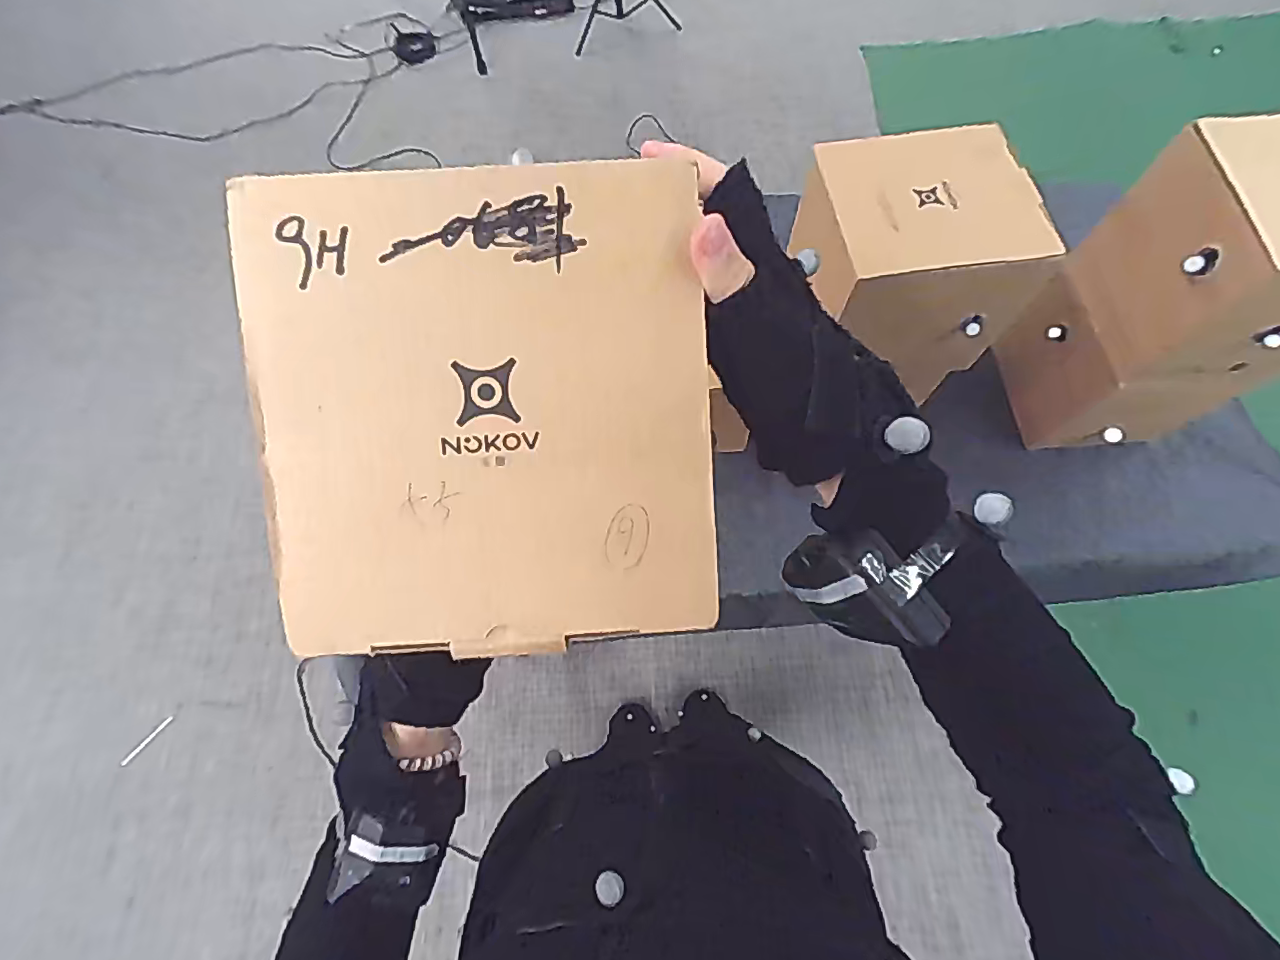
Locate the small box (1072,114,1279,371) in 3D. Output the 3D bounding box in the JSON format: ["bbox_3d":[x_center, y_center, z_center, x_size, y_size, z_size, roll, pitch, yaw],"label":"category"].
[{"bbox_3d":[0.582,-0.219,0.530,0.168,0.176,0.179,-2,68,3],"label":"small box"}]

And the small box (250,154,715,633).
[{"bbox_3d":[-0.055,-0.038,0.283,0.168,0.176,0.179,-3,97,-2],"label":"small box"}]

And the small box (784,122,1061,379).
[{"bbox_3d":[0.262,-0.221,0.551,0.179,0.176,0.168,-6,68,1],"label":"small box"}]
